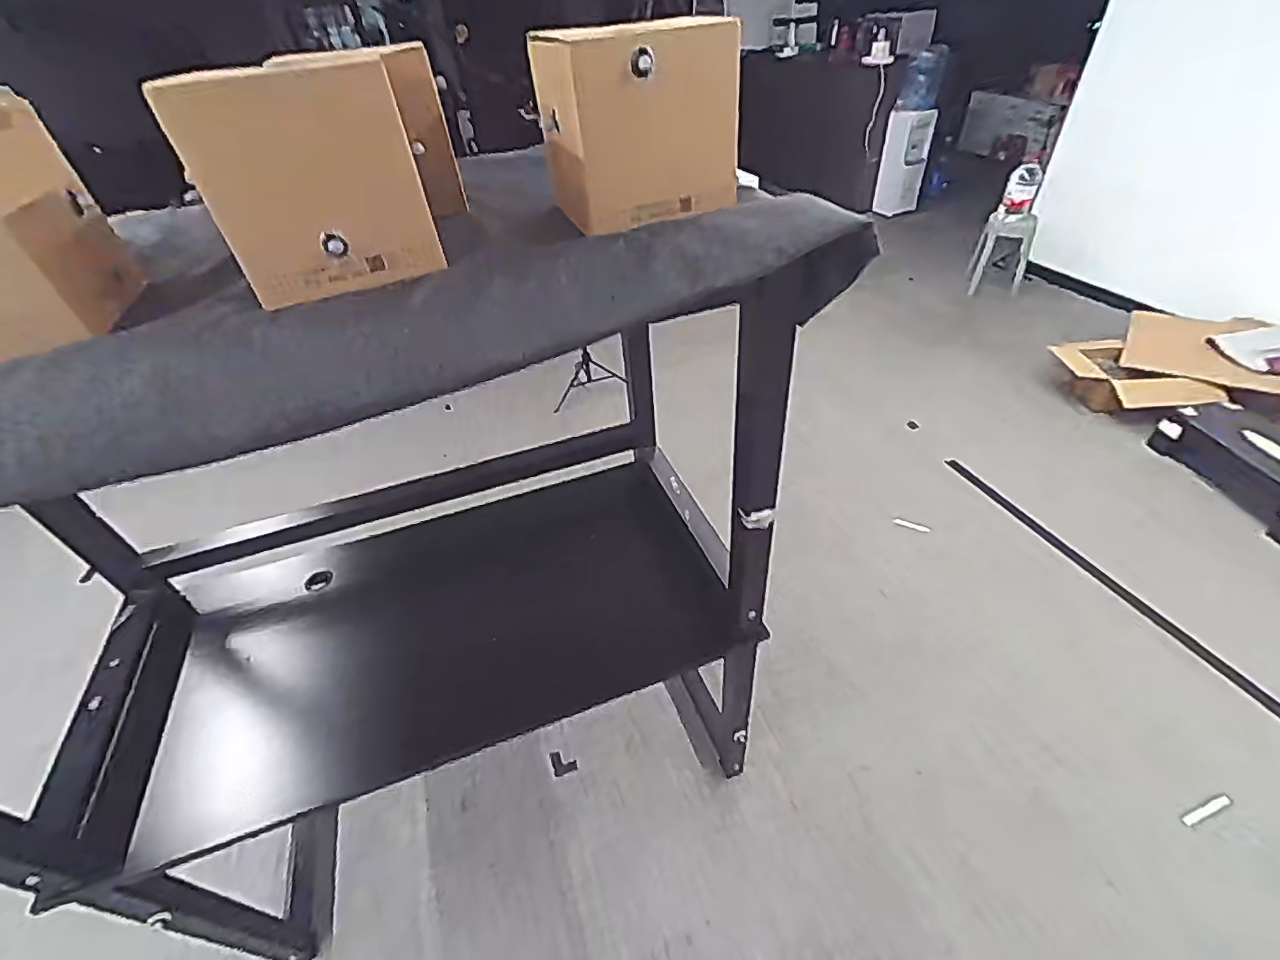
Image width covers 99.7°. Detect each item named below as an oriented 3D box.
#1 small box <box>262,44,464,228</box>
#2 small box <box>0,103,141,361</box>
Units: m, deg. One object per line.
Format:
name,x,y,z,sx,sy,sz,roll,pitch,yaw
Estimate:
small box,-0.332,-0.435,0.684,0.168,0.176,0.179,-16,42,-11
small box,-0.576,-0.199,0.446,0.179,0.176,0.168,-17,40,-16
